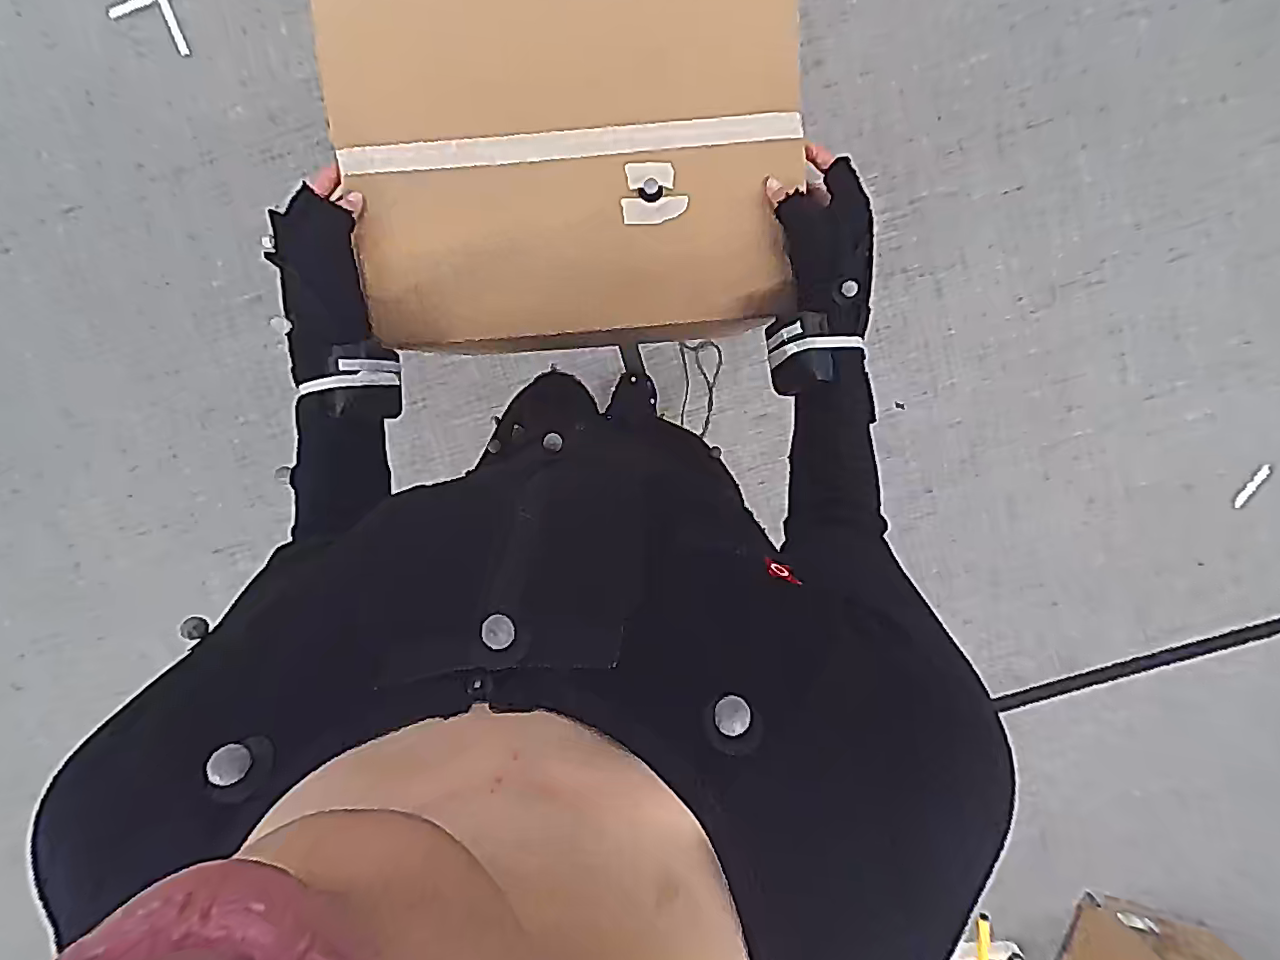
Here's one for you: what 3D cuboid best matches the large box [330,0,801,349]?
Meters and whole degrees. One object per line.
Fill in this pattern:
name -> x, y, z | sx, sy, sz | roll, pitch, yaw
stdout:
large box -> -0.062, -0.334, 0.630 | 0.408, 0.320, 0.320 | -5, 102, -1
